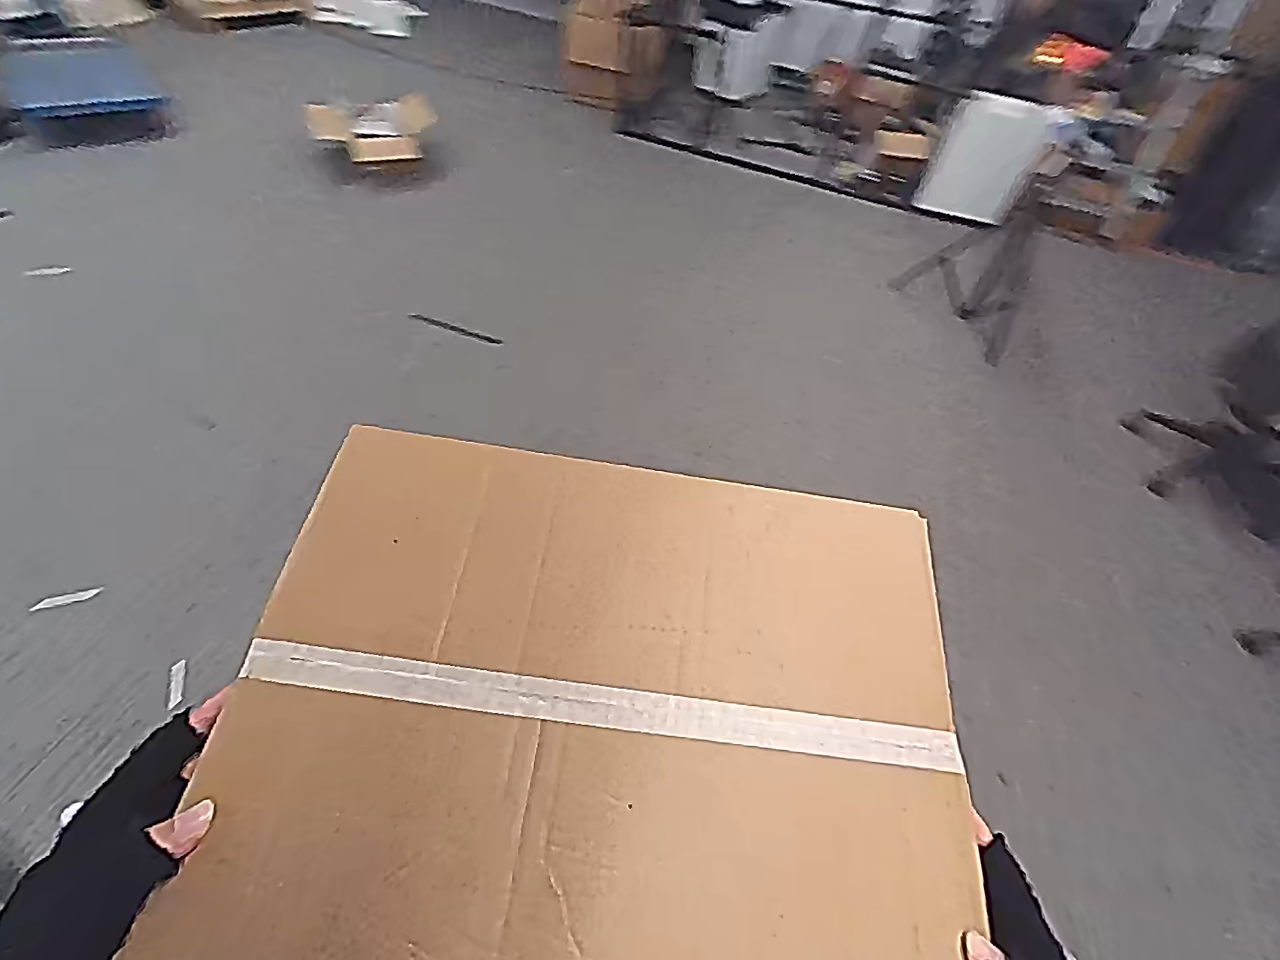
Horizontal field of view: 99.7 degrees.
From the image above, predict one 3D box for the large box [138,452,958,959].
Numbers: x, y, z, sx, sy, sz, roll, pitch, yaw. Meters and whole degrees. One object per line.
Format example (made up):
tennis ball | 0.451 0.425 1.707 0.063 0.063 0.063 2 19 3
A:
large box | -0.037 0.203 0.445 0.408 0.320 0.320 7 61 -2
